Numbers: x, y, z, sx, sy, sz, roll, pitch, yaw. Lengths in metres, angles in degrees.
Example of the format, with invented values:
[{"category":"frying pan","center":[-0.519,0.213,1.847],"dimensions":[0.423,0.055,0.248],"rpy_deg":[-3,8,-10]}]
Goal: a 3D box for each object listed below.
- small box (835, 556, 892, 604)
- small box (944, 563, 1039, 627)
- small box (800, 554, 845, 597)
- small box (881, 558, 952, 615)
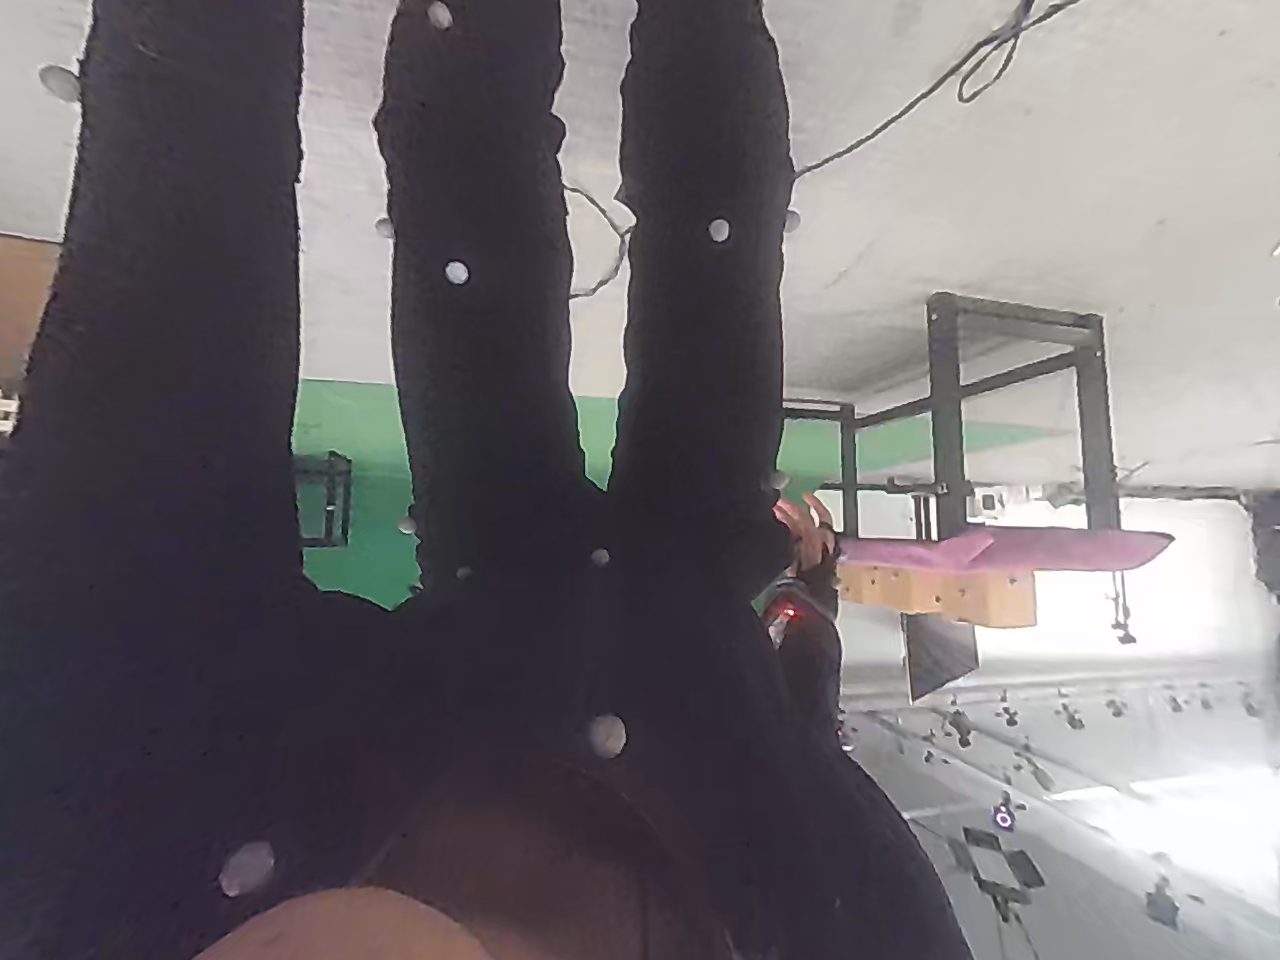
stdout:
[{"category":"small box","center":[0.862,0.379,2.068],"dimensions":[0.168,0.176,0.179],"rpy_deg":[3,174,-18]},{"category":"small box","center":[1.008,0.327,1.564],"dimensions":[0.179,0.176,0.168],"rpy_deg":[3,174,-16]},{"category":"small box","center":[0.786,0.405,2.314],"dimensions":[0.168,0.176,0.179],"rpy_deg":[-1,174,6]},{"category":"small box","center":[0.939,0.354,1.821],"dimensions":[0.179,0.176,0.168],"rpy_deg":[2,173,-11]}]
